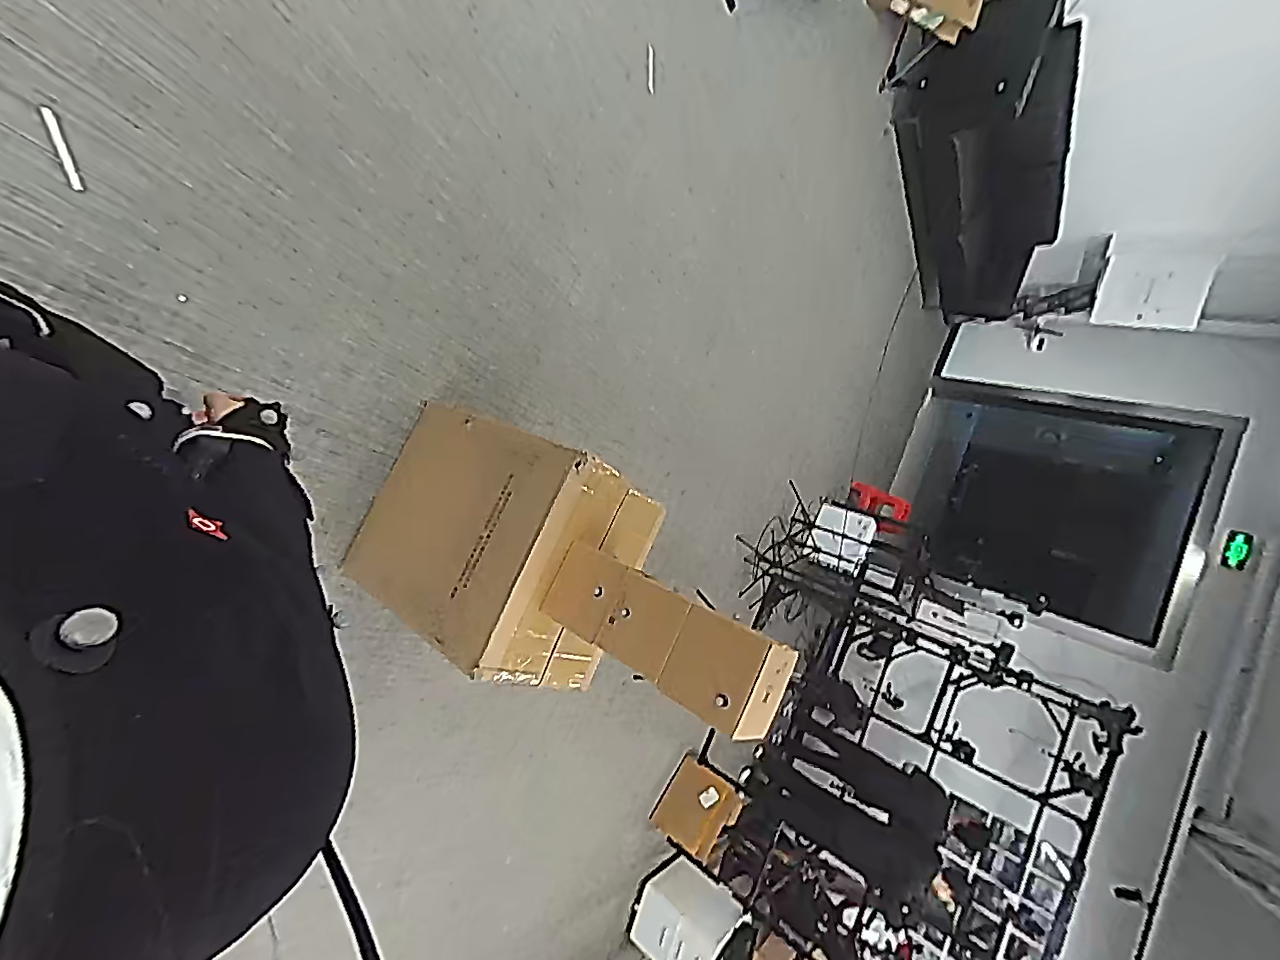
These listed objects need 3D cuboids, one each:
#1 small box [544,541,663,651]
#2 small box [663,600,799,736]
[{"bbox_3d":[-0.082,0.254,1.203,0.168,0.176,0.179,37,77,-52],"label":"small box"},{"bbox_3d":[0.165,0.349,1.007,0.168,0.176,0.179,36,77,-52],"label":"small box"}]
